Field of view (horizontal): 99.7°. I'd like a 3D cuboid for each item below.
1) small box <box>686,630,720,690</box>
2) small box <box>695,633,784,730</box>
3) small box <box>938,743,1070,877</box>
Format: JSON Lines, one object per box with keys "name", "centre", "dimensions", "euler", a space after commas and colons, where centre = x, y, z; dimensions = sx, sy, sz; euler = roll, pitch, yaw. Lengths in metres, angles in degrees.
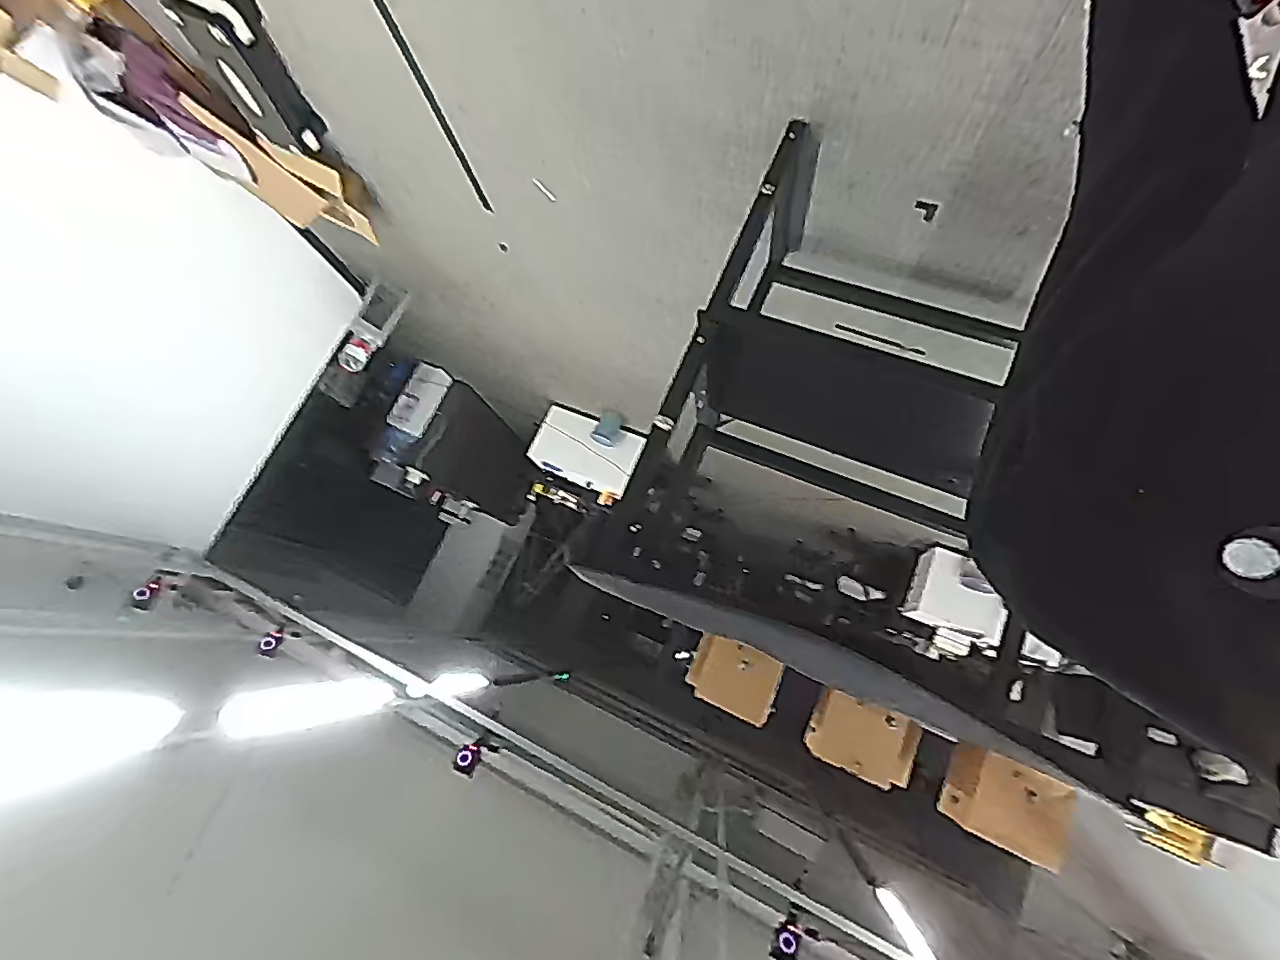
{"name": "small box", "centre": [0.246, 0.545, 1.566], "dimensions": [0.179, 0.176, 0.168], "euler": [22, 168, 12]}
{"name": "small box", "centre": [0.255, 0.498, 1.352], "dimensions": [0.168, 0.176, 0.179], "euler": [19, 166, 22]}
{"name": "small box", "centre": [0.767, 0.681, 1.145], "dimensions": [0.168, 0.176, 0.179], "euler": [21, 166, 17]}
